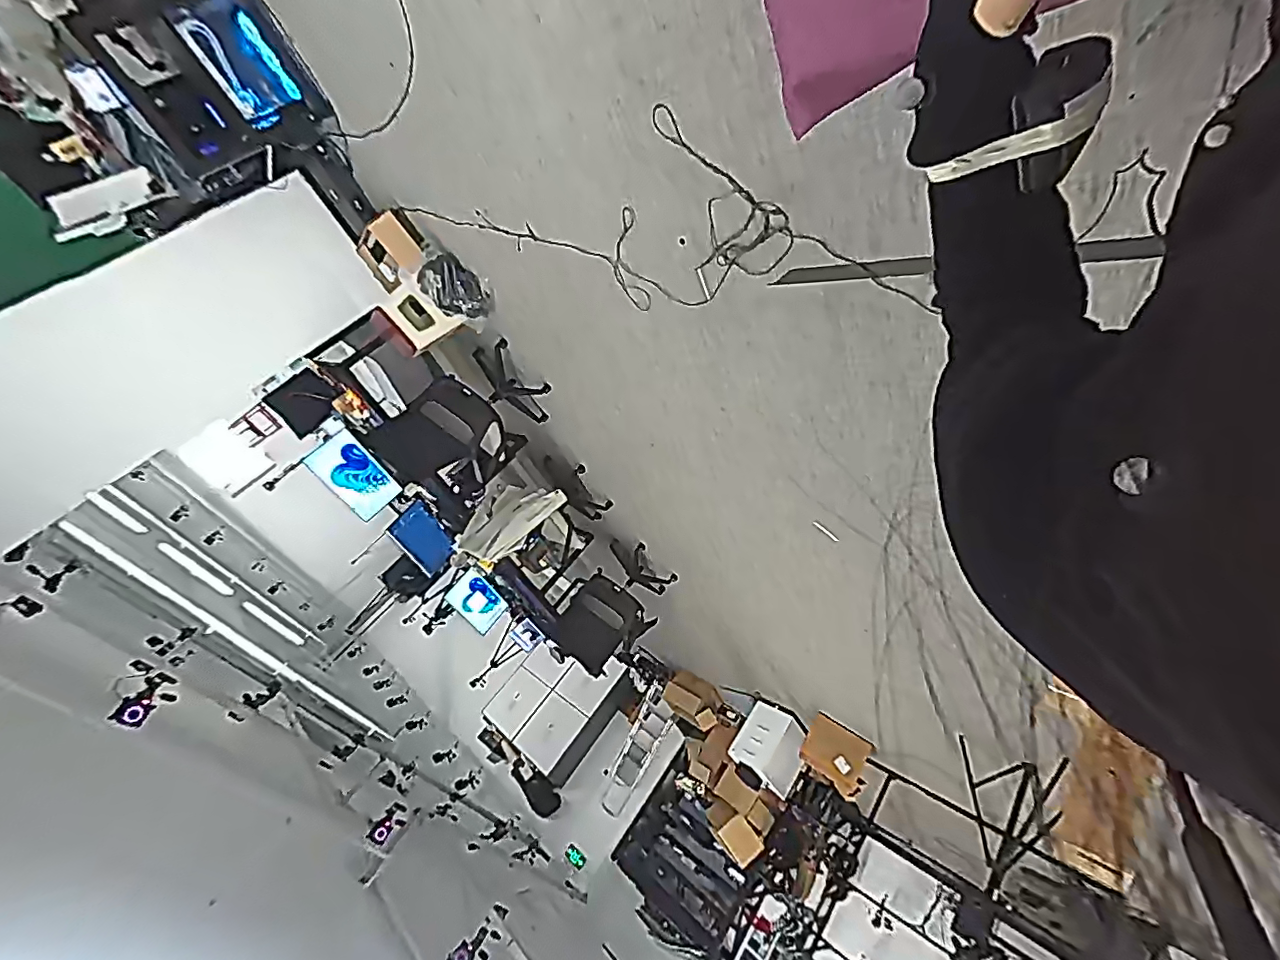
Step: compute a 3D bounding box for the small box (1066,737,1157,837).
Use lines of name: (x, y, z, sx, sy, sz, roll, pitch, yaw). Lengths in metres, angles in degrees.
small box: (1.401, 0.905, 1.607, 0.168, 0.176, 0.179, 18, 145, 43)

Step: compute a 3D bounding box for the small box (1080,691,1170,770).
small box: (1.496, 0.787, 1.670, 0.168, 0.176, 0.179, 19, 148, 40)
